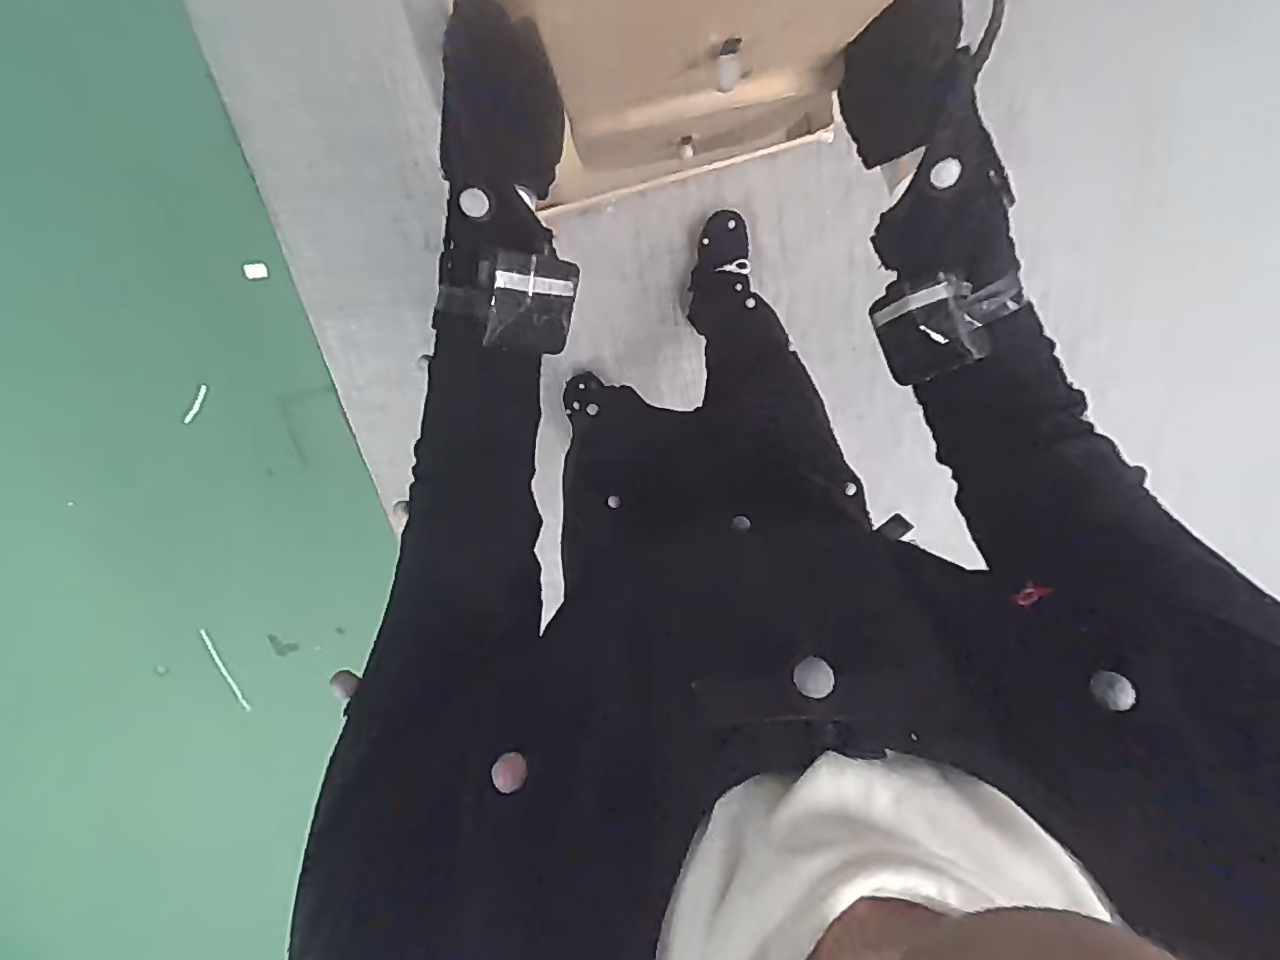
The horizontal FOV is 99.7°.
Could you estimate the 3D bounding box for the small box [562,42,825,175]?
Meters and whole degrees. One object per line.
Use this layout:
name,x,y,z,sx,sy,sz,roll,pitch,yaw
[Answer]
small box,0.023,-0.347,0.409,0.179,0.176,0.168,-10,111,3

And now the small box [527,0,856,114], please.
small box,0.018,-0.301,0.254,0.168,0.176,0.179,-14,111,5
